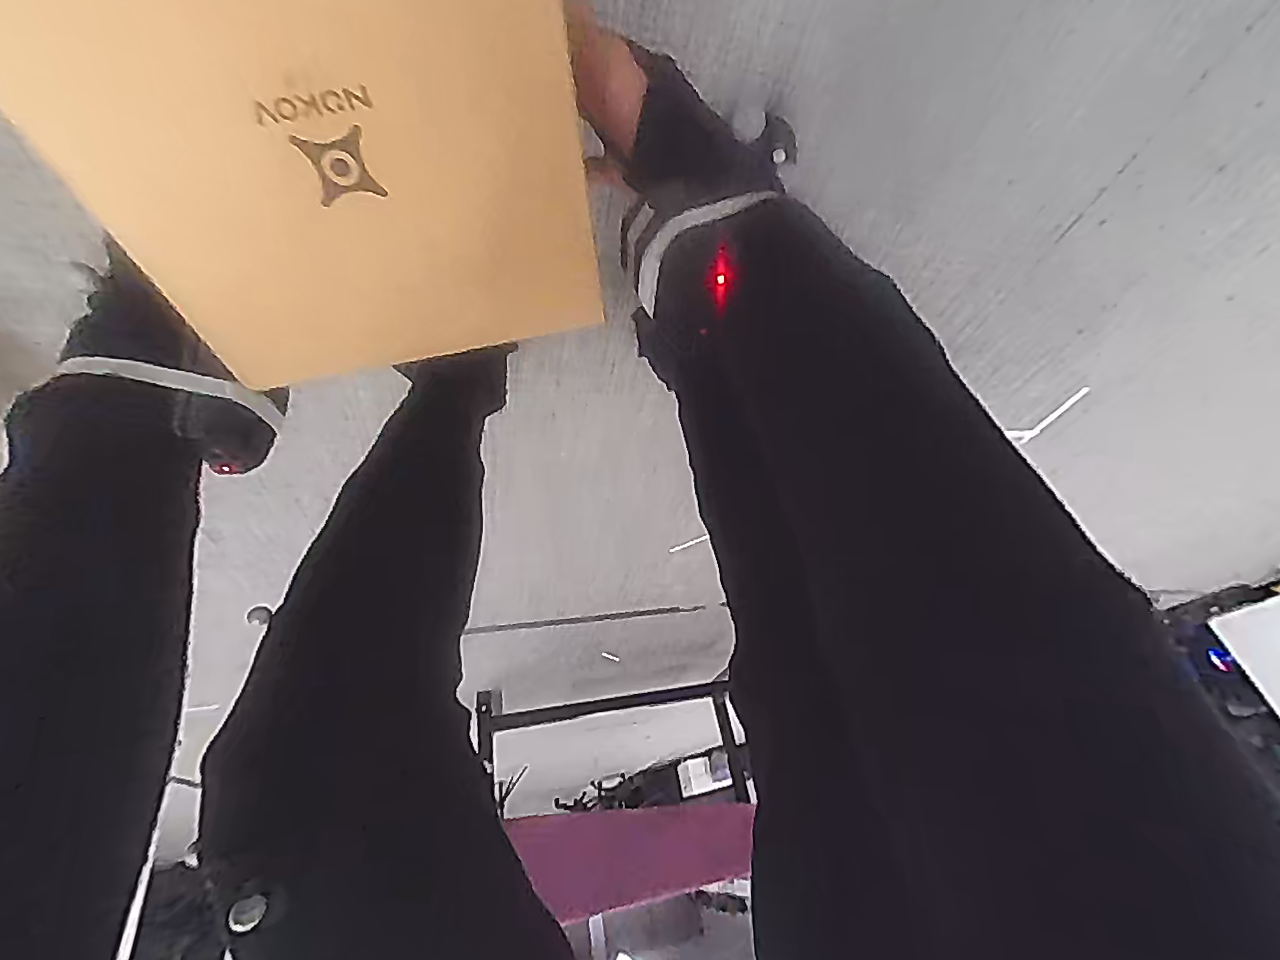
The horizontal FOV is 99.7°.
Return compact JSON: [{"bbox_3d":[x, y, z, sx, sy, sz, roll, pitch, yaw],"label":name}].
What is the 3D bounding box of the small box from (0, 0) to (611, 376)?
[{"bbox_3d":[-0.113,-0.176,0.229,0.168,0.176,0.179,-12,142,-4],"label":"small box"}]
